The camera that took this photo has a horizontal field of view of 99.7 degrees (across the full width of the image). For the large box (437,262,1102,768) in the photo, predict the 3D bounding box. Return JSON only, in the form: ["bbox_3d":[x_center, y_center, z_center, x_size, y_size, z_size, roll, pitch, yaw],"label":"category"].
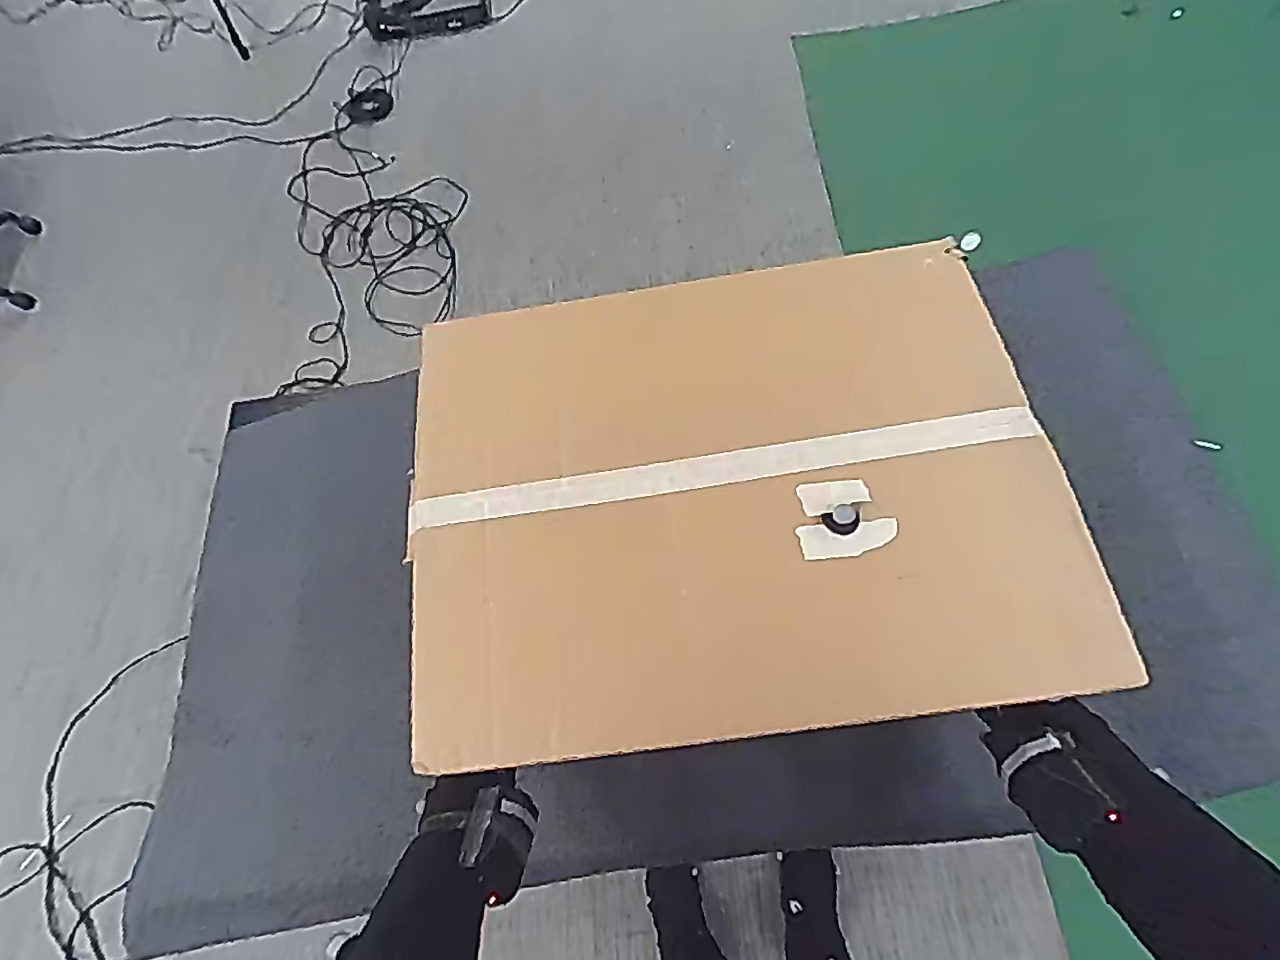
[{"bbox_3d":[0.066,0.055,0.510,0.408,0.320,0.320,-9,69,2],"label":"large box"}]
